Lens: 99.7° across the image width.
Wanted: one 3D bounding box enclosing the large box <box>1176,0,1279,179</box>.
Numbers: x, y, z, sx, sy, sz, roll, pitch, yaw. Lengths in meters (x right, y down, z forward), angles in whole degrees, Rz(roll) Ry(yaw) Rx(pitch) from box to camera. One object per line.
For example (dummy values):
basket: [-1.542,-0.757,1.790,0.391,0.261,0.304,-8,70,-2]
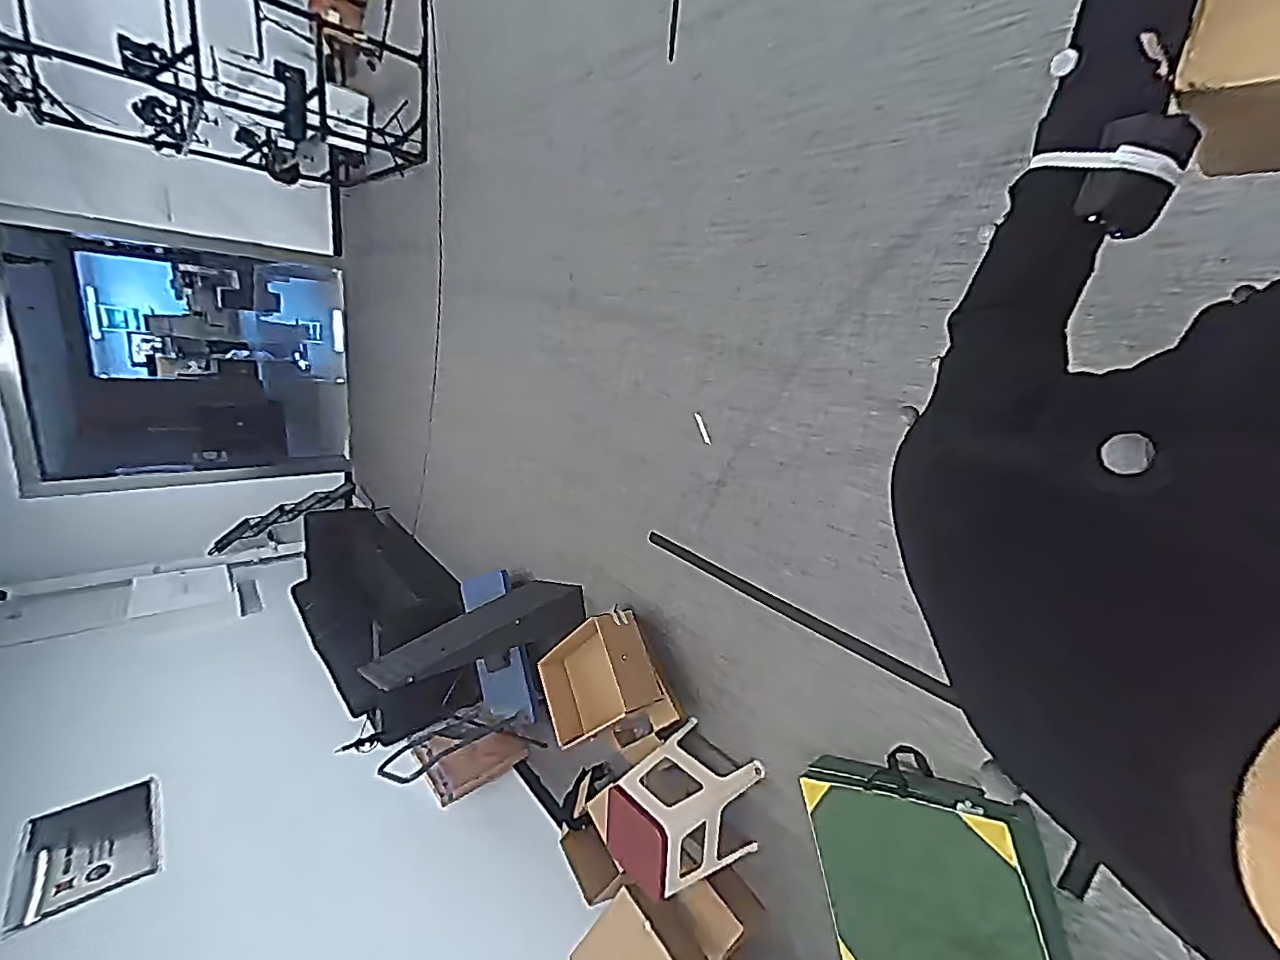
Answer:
large box: [0.612,-0.379,0.285,0.408,0.320,0.320,22,117,43]
